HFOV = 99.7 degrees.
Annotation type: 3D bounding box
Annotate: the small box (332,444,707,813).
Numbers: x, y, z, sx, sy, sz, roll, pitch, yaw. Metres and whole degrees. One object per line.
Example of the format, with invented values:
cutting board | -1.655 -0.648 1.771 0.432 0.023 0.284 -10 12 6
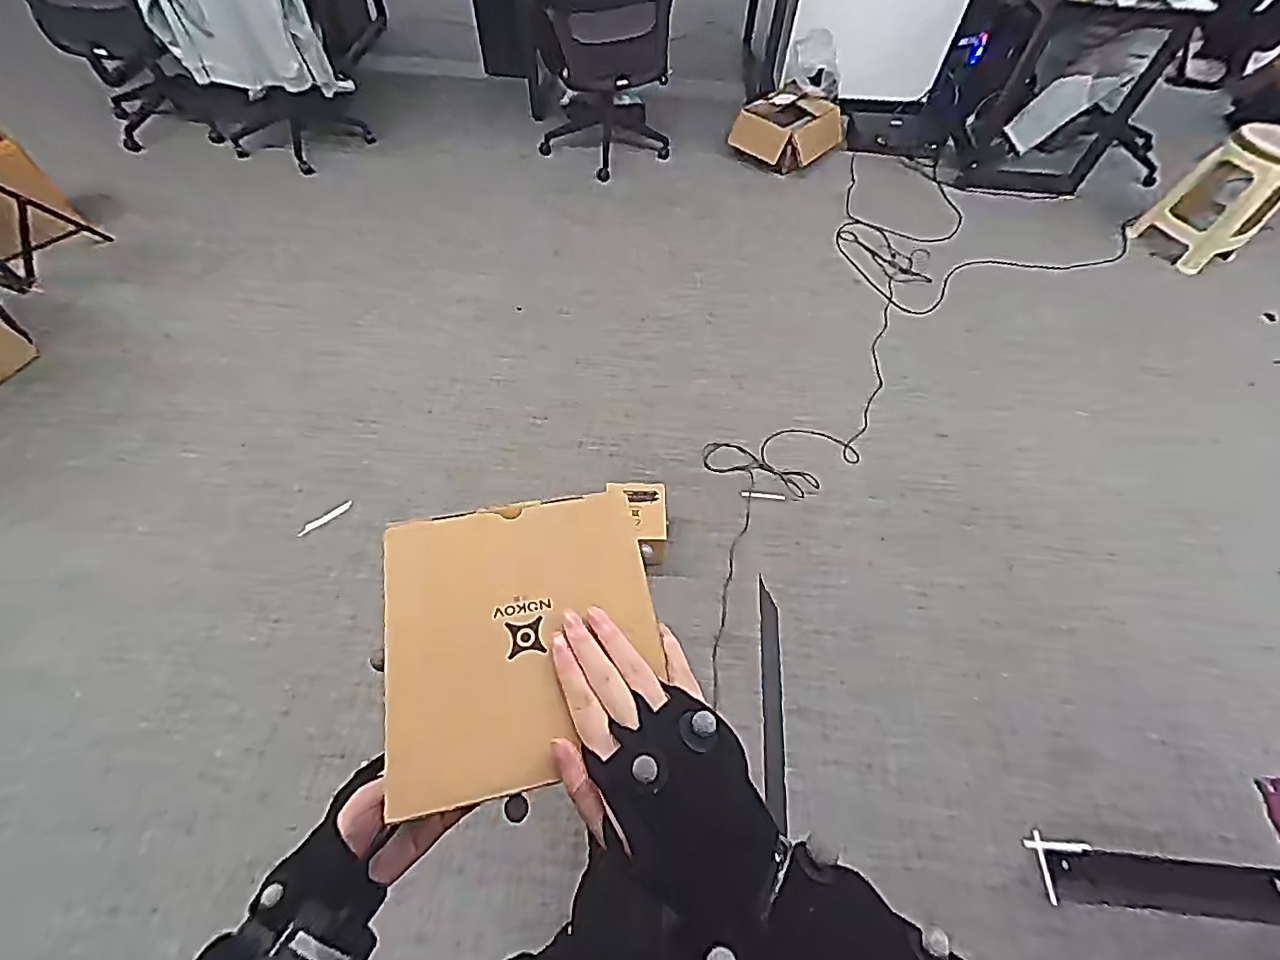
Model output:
small box | -0.074 0.100 0.379 0.179 0.176 0.168 -21 44 1
